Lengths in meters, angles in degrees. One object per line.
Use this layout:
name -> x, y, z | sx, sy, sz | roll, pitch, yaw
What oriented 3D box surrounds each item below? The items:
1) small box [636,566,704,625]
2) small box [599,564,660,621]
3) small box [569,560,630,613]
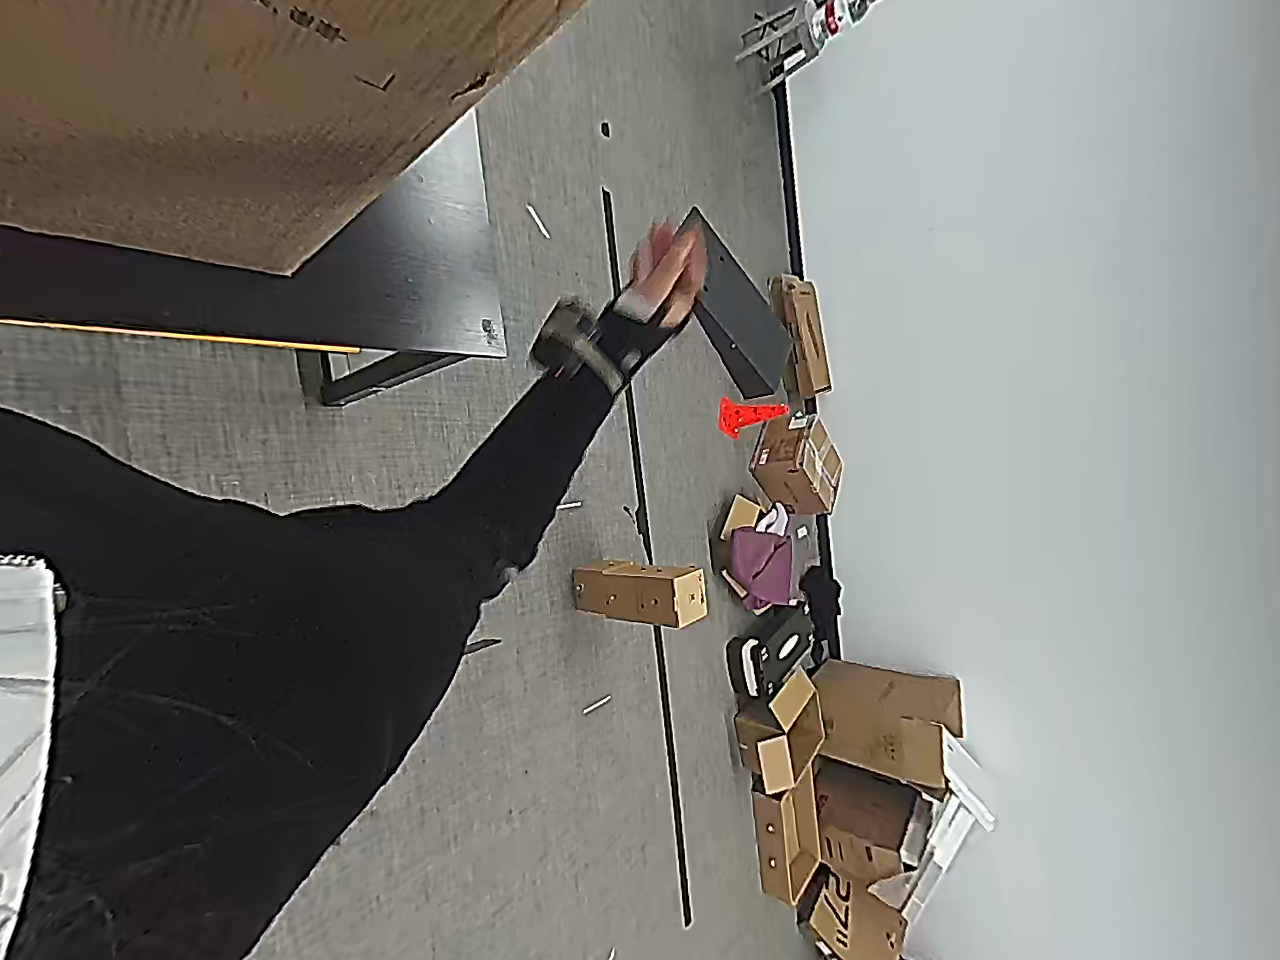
small box -> 0.097, 0.395, 1.870 | 0.179, 0.176, 0.168 | -7, 91, -50
small box -> -0.027, 0.405, 1.977 | 0.179, 0.176, 0.168 | -7, 91, -50
small box -> -0.149, 0.406, 2.089 | 0.179, 0.176, 0.168 | -8, 92, -49
